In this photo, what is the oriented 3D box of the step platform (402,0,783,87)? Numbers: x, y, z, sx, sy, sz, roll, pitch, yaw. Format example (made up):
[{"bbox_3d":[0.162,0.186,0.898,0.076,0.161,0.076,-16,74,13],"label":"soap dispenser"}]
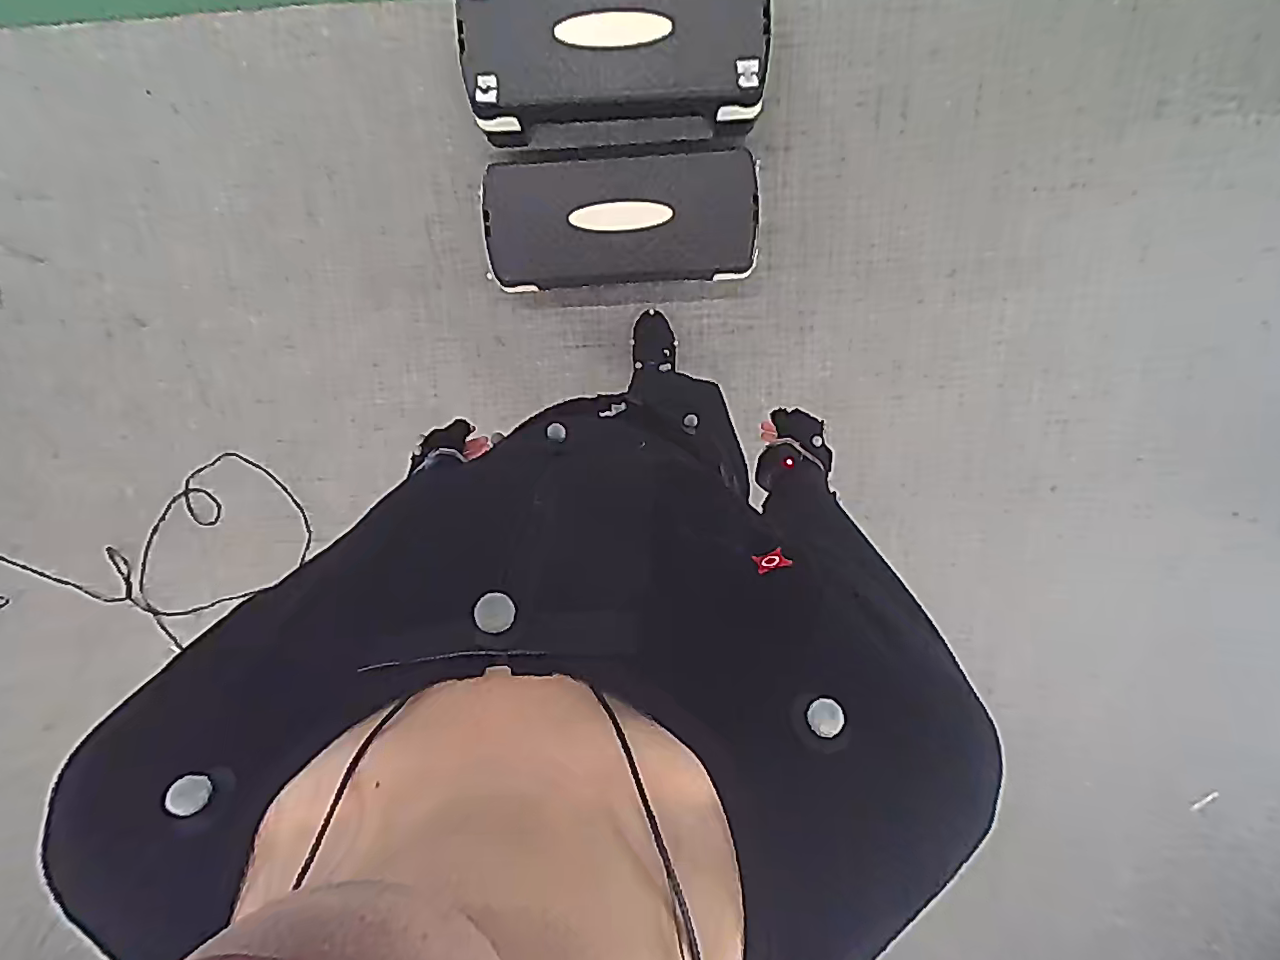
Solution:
[{"bbox_3d":[-0.083,-0.945,1.009,0.684,0.204,0.286,-2,101,1],"label":"step platform"}]
